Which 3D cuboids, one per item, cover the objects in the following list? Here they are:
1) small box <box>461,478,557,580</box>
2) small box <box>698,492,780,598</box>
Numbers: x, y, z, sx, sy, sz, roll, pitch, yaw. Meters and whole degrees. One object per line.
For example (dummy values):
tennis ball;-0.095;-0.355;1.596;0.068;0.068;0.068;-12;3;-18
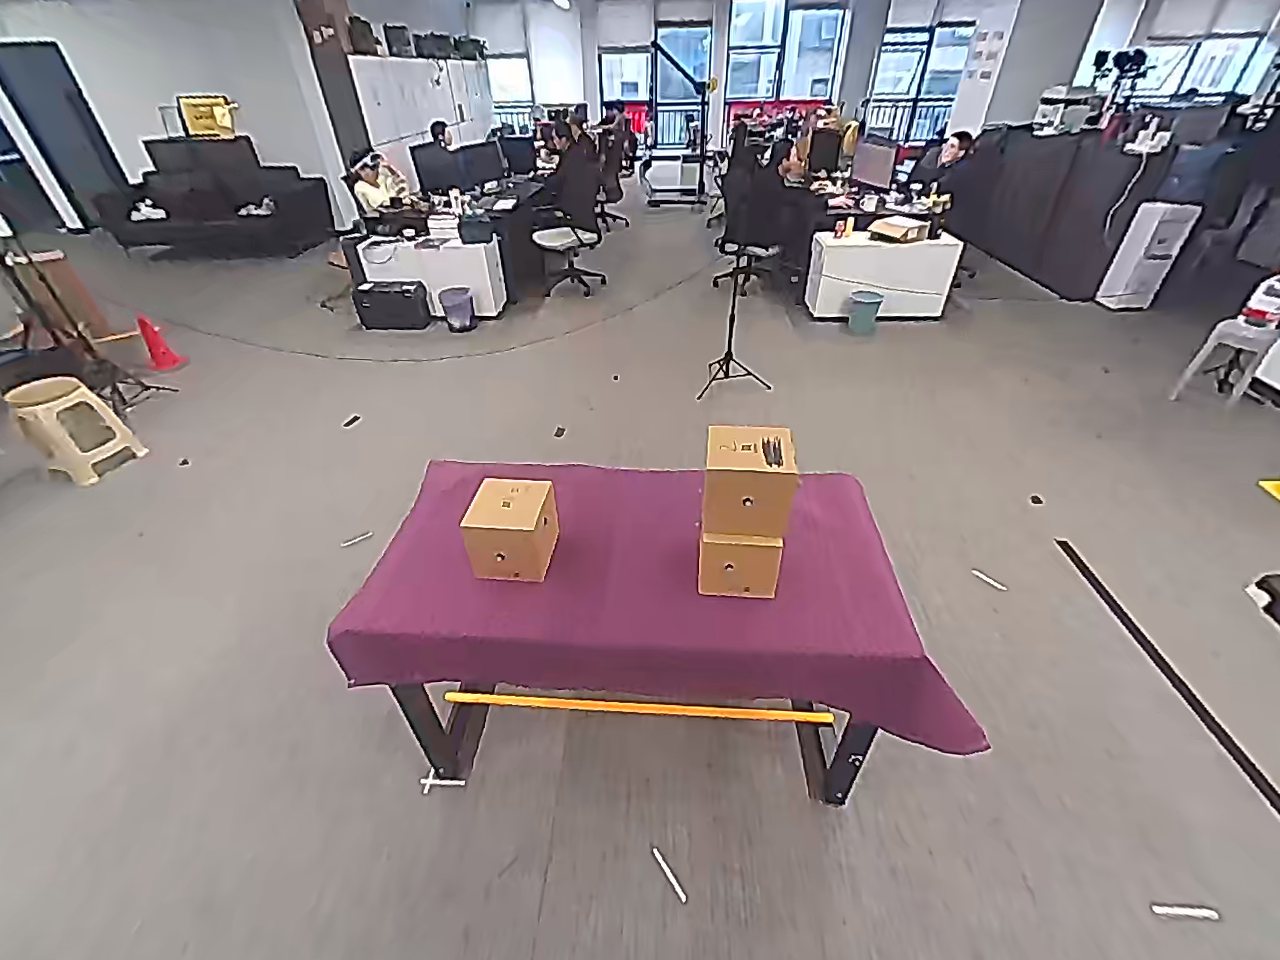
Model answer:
small box;-0.297;0.116;1.275;0.168;0.176;0.179;4;37;5
small box;0.220;0.149;1.227;0.168;0.176;0.179;3;37;6
